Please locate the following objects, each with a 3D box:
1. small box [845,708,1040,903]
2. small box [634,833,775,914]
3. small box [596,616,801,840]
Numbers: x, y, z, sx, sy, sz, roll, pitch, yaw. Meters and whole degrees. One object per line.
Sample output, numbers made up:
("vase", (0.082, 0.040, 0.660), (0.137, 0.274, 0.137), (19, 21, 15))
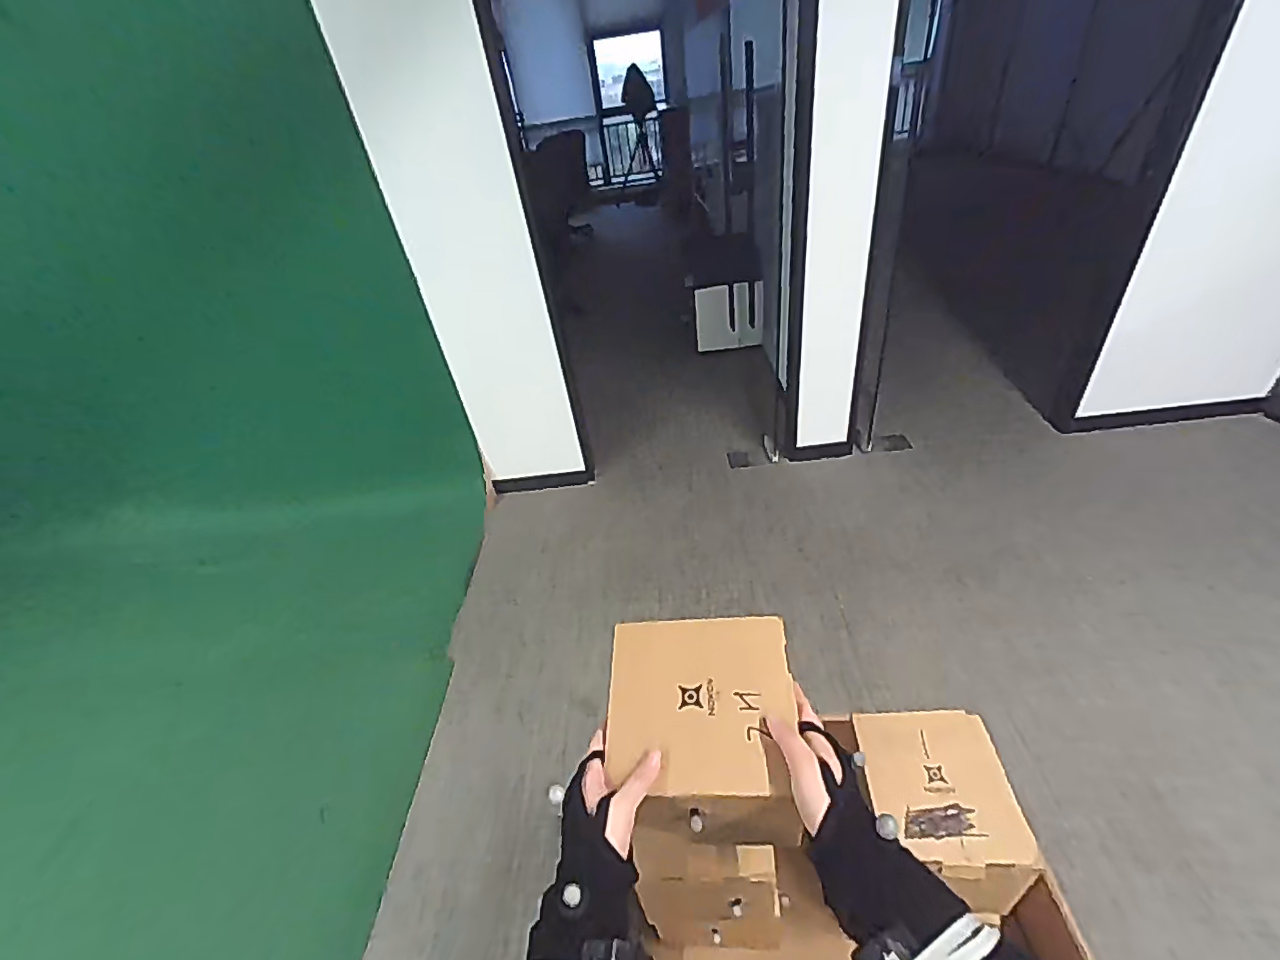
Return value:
("small box", (0.374, 0.424, 0.708), (0.168, 0.176, 0.179), (-4, 37, 9))
("small box", (0.089, 0.461, 0.732), (0.168, 0.176, 0.179), (-5, 37, 7))
("small box", (0.064, 0.260, 0.561), (0.179, 0.176, 0.168), (-5, 45, 8))
